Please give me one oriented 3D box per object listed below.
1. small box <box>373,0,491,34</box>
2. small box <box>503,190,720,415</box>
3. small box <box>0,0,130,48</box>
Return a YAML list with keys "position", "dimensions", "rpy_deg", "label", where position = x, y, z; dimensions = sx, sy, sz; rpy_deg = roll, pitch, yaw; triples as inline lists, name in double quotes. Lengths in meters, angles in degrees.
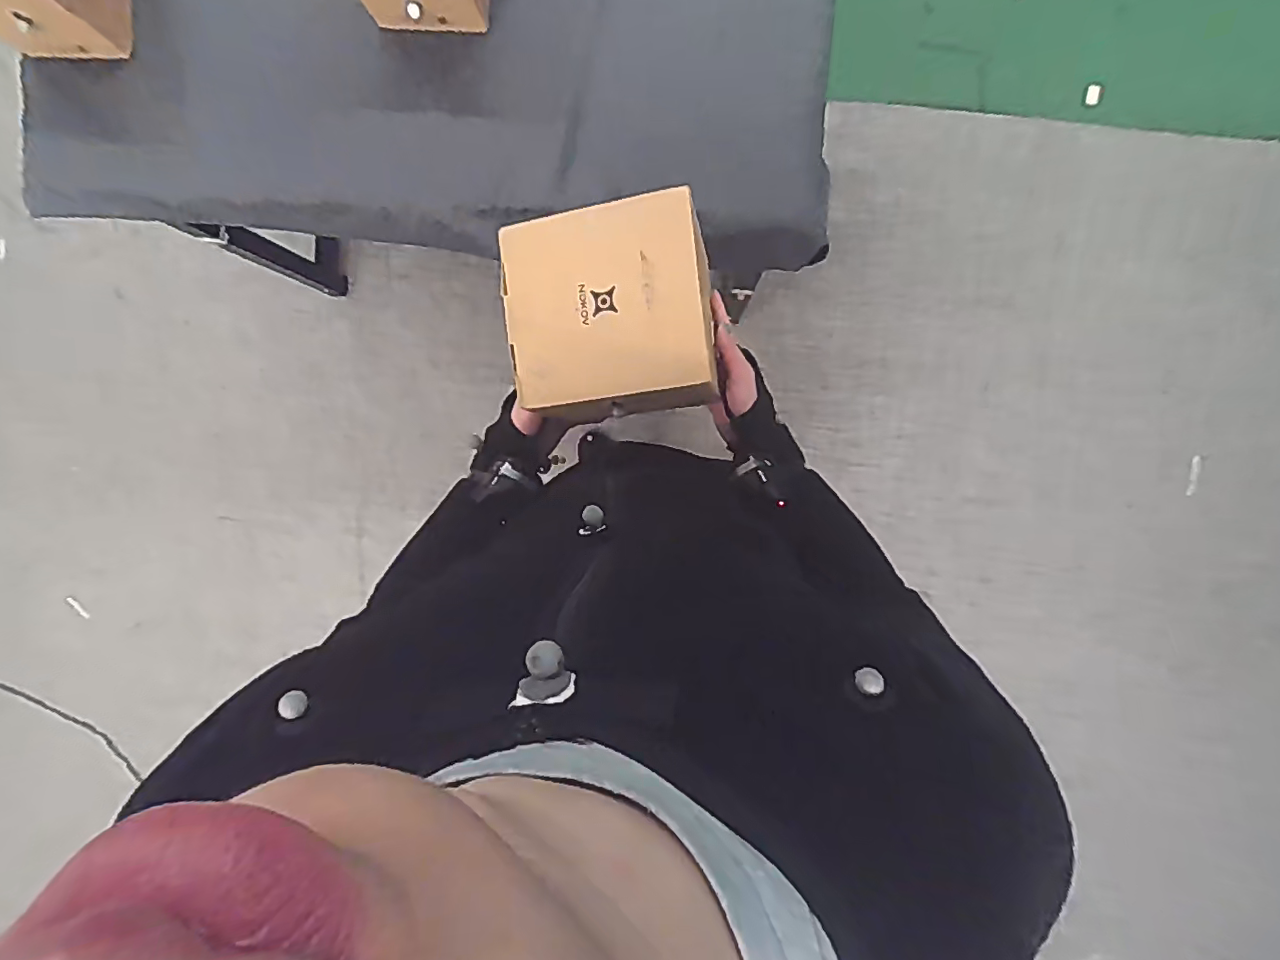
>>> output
- position: [-0.298, -0.747, 0.713]
  dimensions: [0.168, 0.176, 0.179]
  rpy_deg: [5, 95, 2]
  label: "small box"
- position: [-0.017, -0.161, 0.556]
  dimensions: [0.179, 0.176, 0.168]
  rpy_deg: [-7, 92, 11]
  label: "small box"
- position: [-0.850, -0.734, 0.736]
  dimensions: [0.168, 0.176, 0.179]
  rpy_deg: [3, 95, 2]
  label: "small box"
